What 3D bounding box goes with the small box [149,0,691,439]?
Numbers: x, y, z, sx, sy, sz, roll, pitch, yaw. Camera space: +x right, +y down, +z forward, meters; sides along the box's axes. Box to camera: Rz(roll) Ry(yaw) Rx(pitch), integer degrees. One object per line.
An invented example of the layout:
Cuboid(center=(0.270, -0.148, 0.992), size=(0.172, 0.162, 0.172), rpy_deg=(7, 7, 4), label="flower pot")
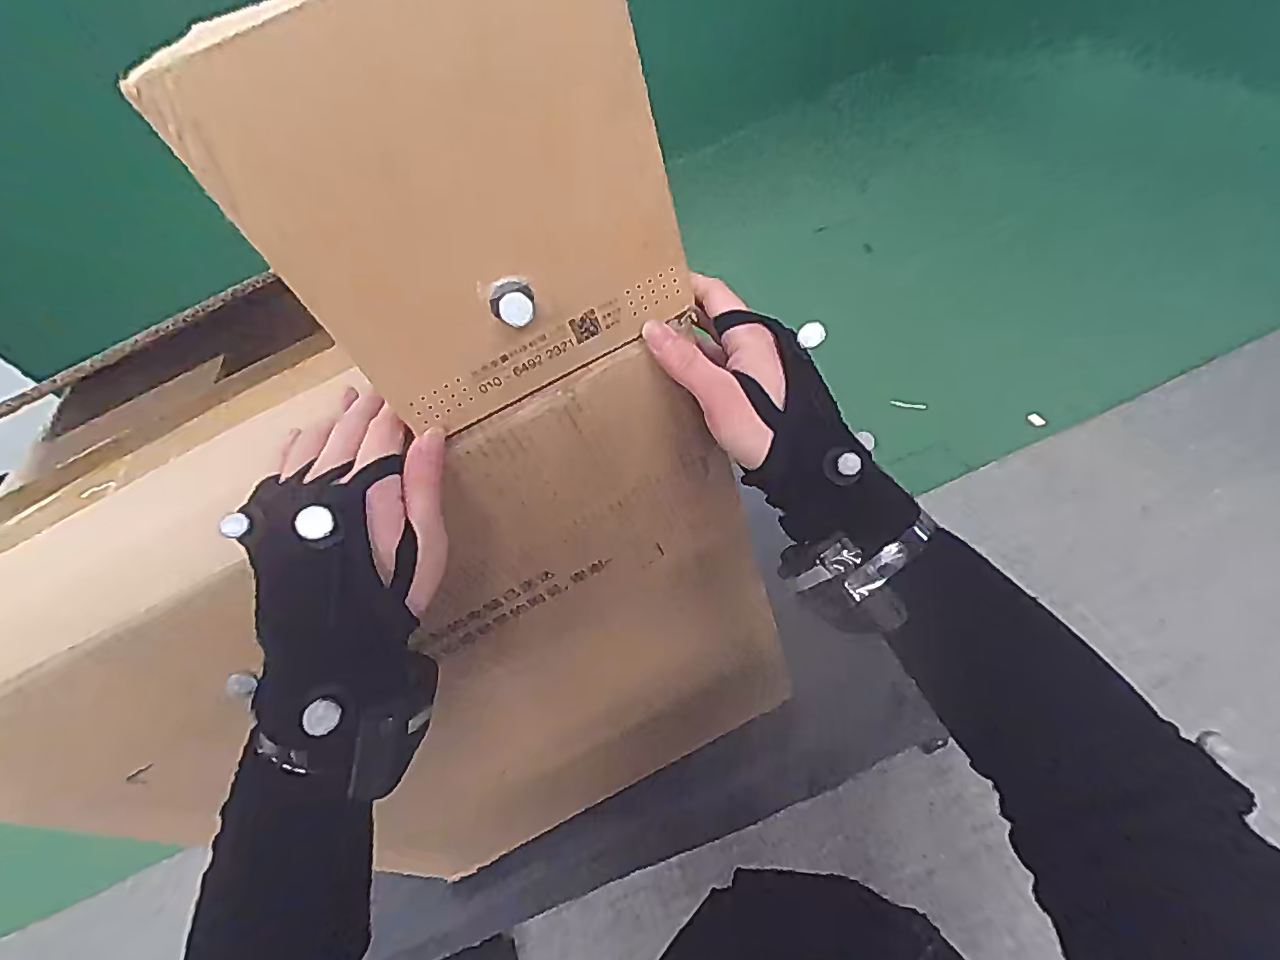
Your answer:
Cuboid(center=(-0.092, -0.155, 0.289), size=(0.168, 0.176, 0.179), rpy_deg=(-28, 49, -3), label="small box")
